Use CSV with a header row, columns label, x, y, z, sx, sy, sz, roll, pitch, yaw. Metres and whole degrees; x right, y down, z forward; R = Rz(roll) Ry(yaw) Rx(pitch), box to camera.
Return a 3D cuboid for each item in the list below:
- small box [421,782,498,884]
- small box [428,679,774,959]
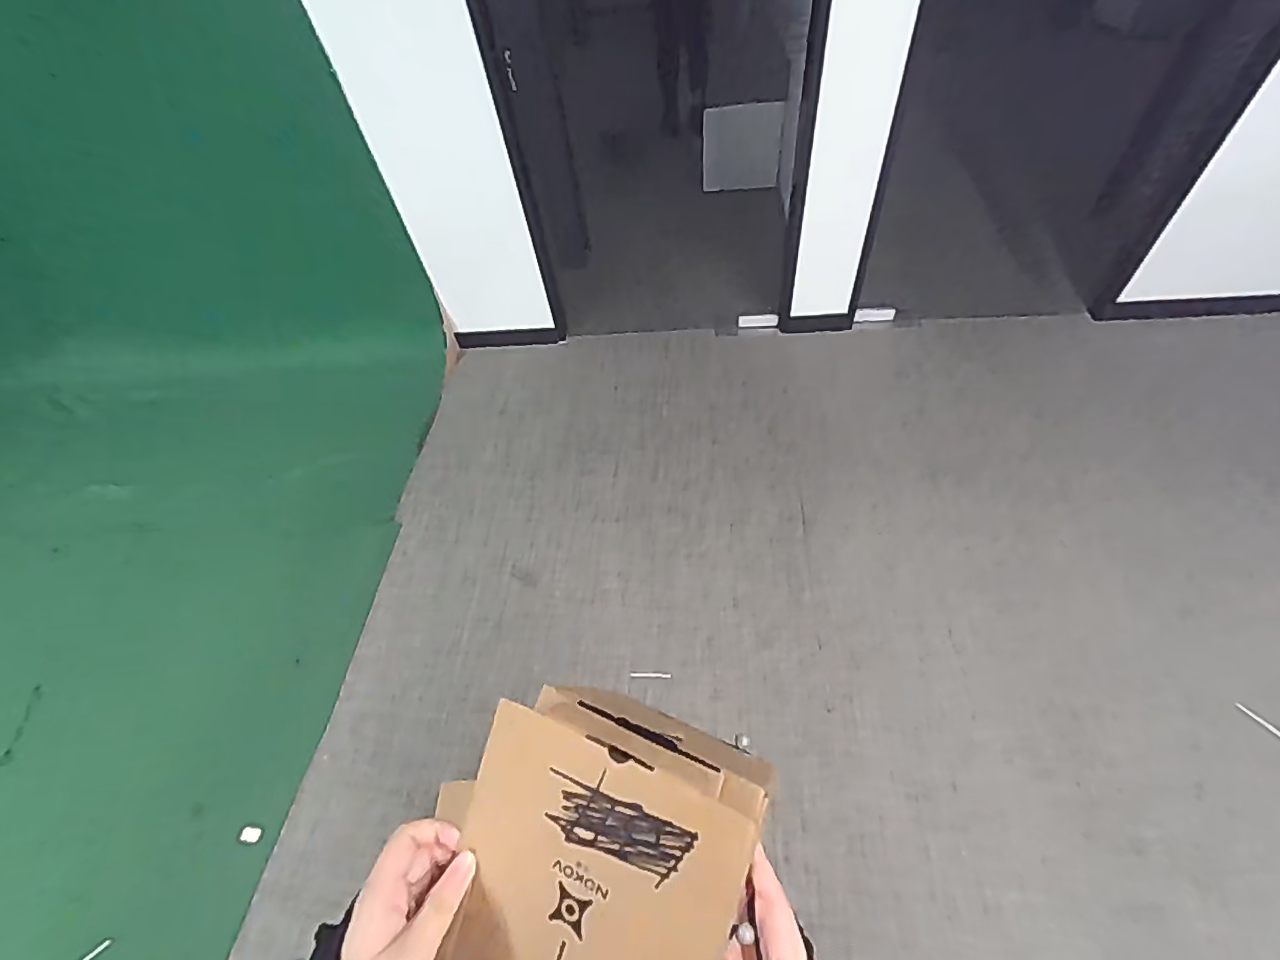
label,x,y,z,sx,sy,sz,roll,pitch,yaw
small box,-0.348,0.777,1.185,0.168,0.176,0.179,-3,51,5
small box,-0.007,0.265,0.394,0.168,0.176,0.179,16,73,22
